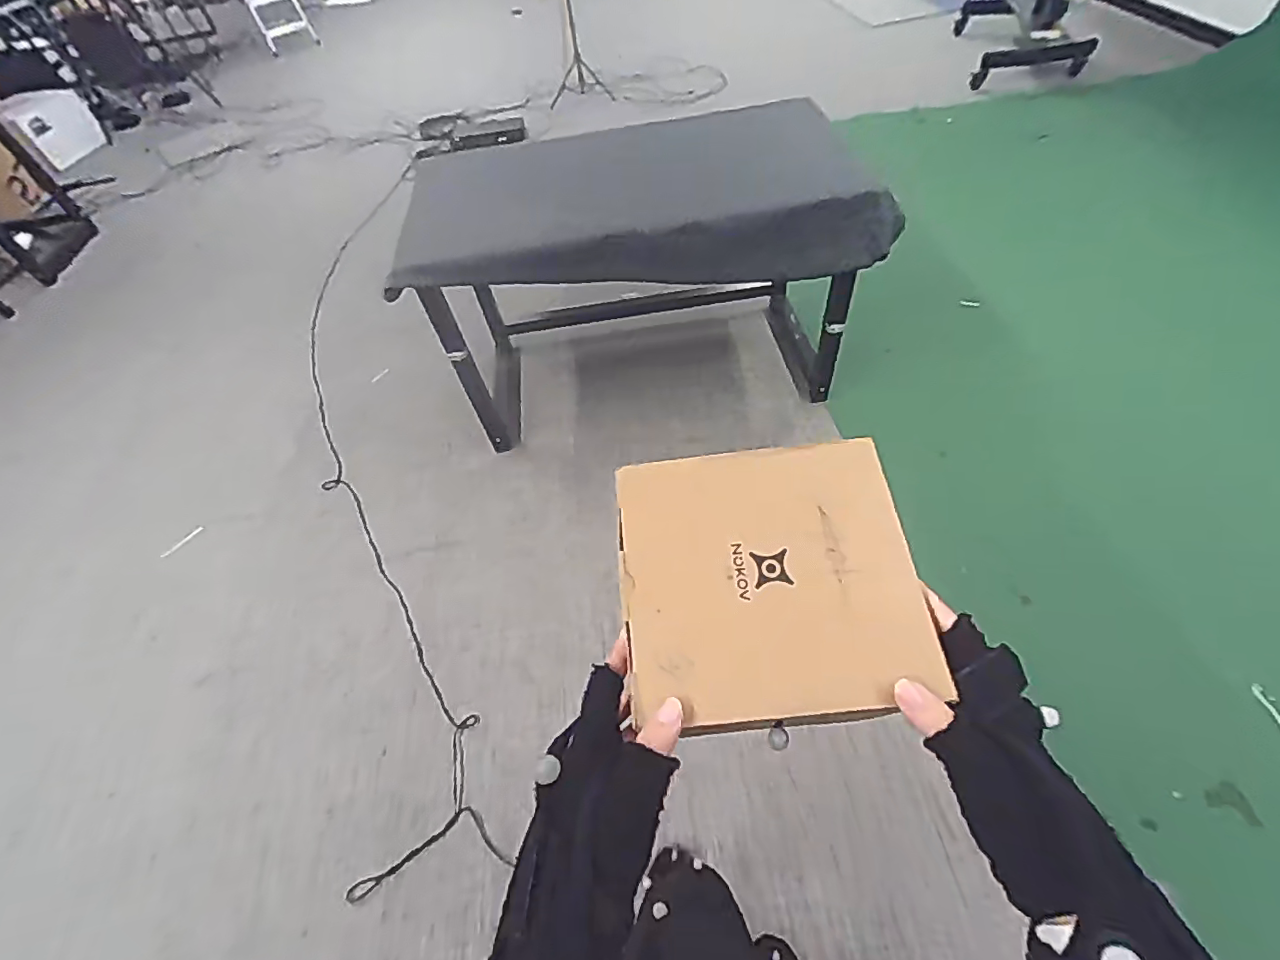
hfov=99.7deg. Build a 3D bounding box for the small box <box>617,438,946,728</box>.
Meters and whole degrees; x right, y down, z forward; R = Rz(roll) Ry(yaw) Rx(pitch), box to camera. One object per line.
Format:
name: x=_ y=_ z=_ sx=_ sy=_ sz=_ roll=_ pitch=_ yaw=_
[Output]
small box: x=0.083 y=0.089 z=0.407 sx=0.179 sy=0.176 sz=0.168 roll=-7 pitch=65 yaw=0
